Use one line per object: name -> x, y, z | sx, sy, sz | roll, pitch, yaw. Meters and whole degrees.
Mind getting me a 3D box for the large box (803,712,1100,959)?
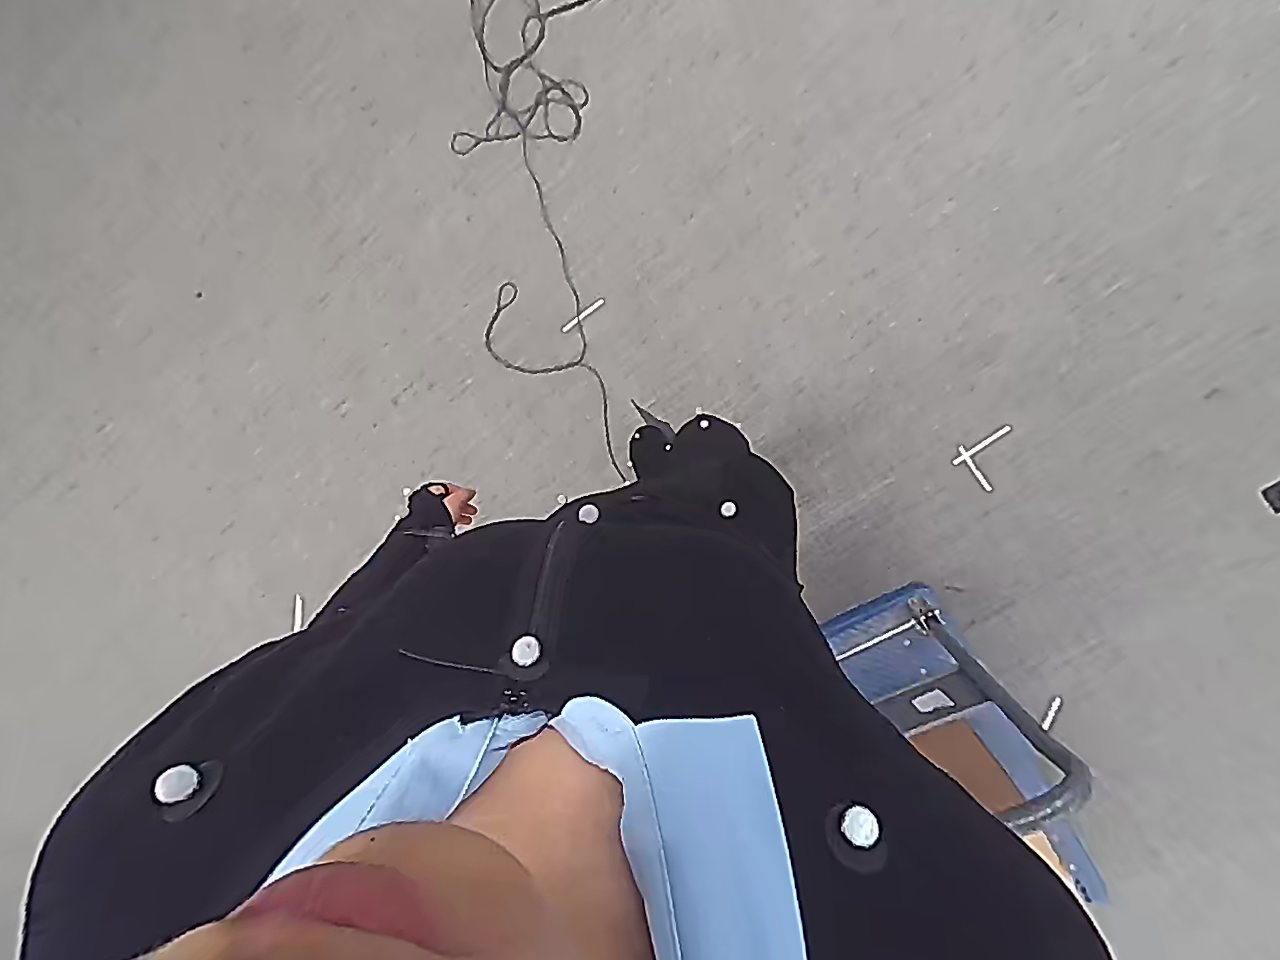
large box -> 0.621, 0.781, 1.165 | 0.408, 0.320, 0.320 | -29, 92, 10
